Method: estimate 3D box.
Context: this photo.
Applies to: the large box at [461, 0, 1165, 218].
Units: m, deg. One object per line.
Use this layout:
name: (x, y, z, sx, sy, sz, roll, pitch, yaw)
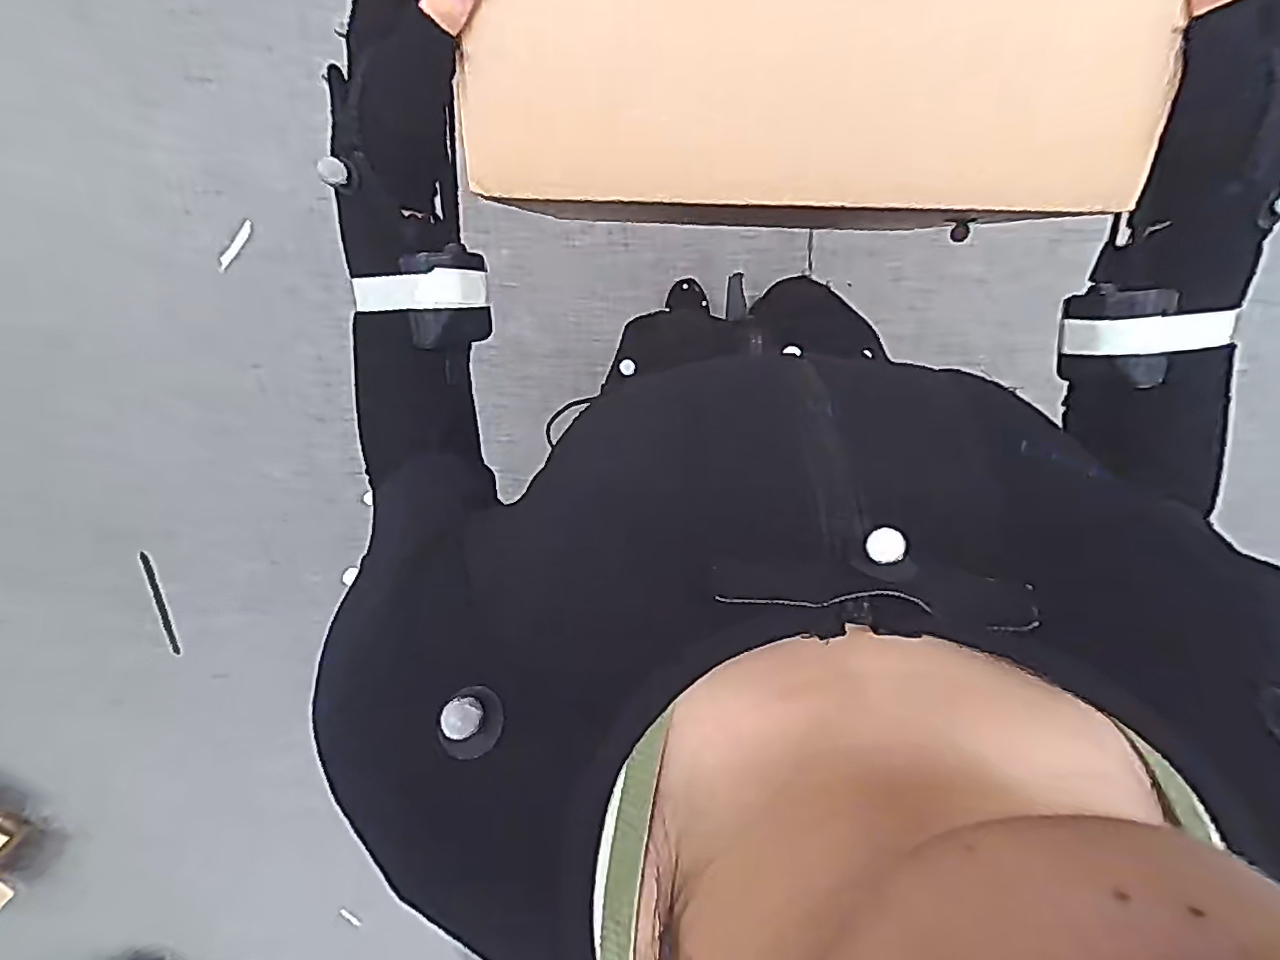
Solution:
large box: (0.100, -0.378, 0.417, 0.408, 0.320, 0.320, 2, 113, 0)
